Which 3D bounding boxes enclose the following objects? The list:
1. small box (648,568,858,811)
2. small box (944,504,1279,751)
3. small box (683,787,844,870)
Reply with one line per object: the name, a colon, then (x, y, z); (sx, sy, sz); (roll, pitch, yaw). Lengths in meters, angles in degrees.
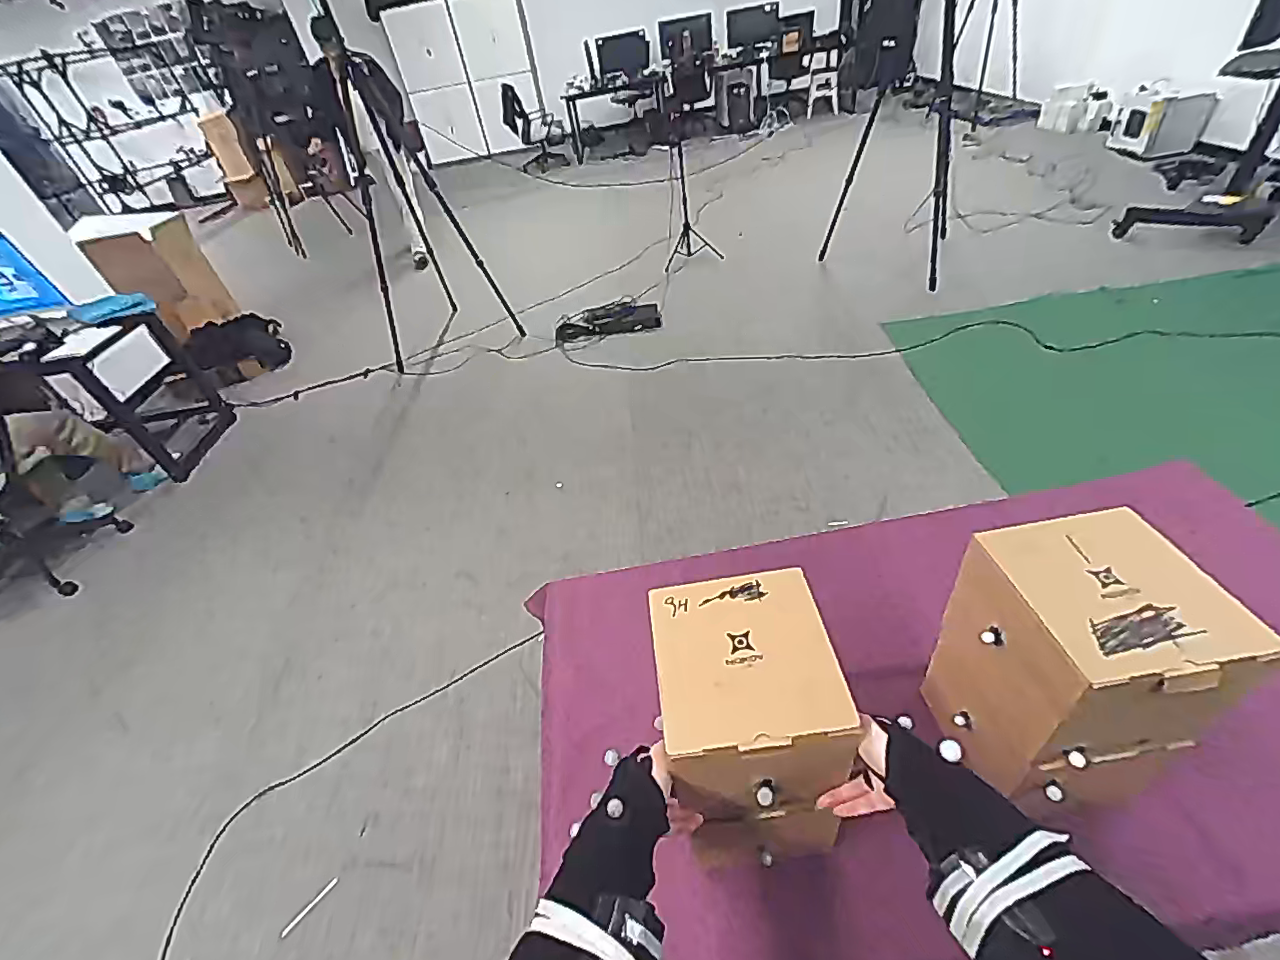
small box: (0.108, 0.221, 0.561); (0.168, 0.176, 0.179); (-10, 41, 2)
small box: (0.448, 0.155, 0.555); (0.168, 0.176, 0.179); (-11, 40, 1)
small box: (0.133, 0.346, 0.666); (0.168, 0.176, 0.179); (-10, 41, 3)
